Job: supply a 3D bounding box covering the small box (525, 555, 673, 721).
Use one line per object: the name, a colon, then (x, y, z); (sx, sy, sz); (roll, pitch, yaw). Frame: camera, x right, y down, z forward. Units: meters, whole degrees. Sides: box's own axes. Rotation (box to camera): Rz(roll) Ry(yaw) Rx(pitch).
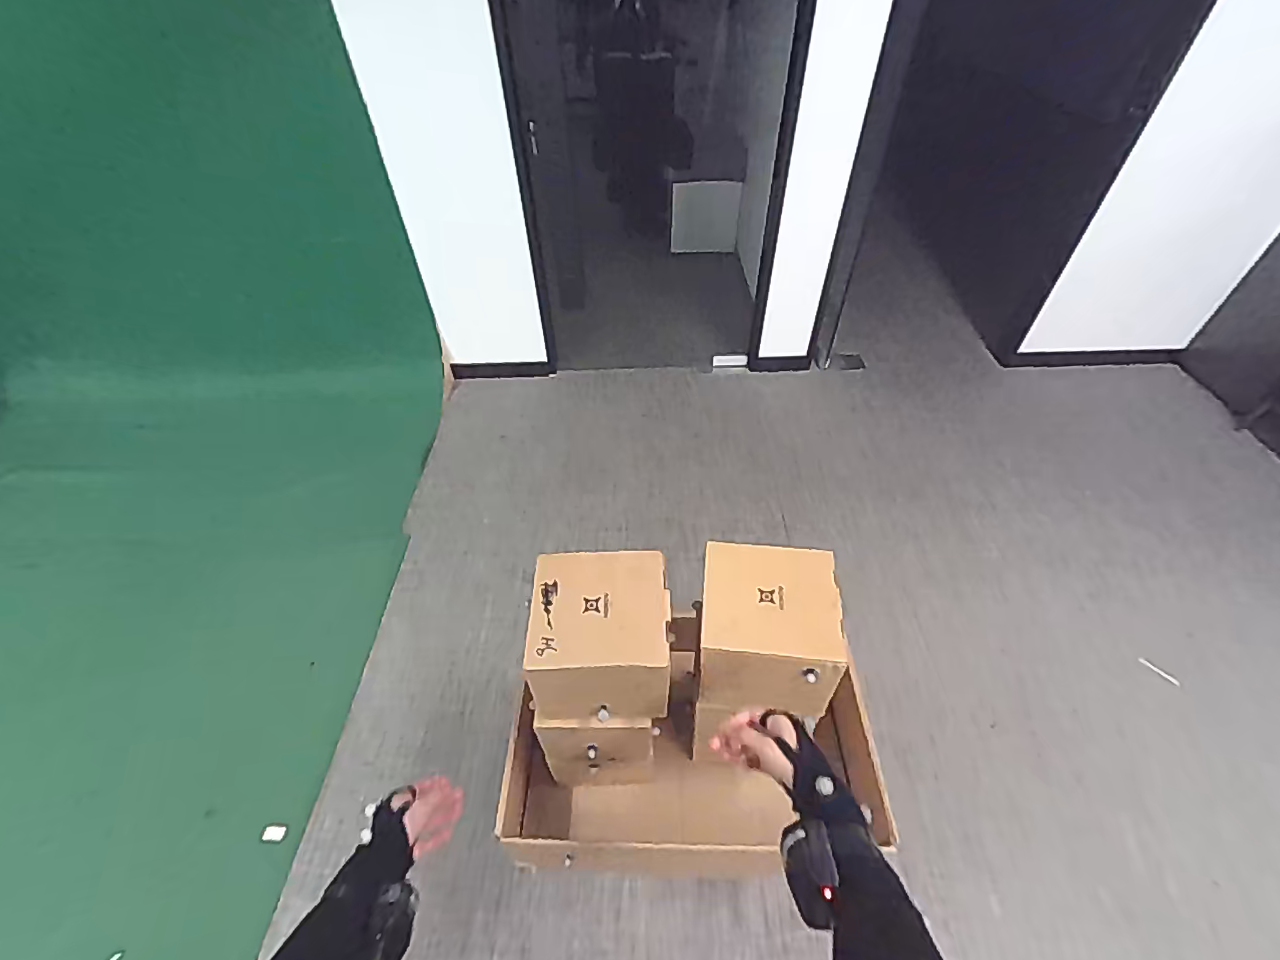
small box: (-0.049, 0.219, 0.743); (0.179, 0.176, 0.168); (-1, 47, 0)
